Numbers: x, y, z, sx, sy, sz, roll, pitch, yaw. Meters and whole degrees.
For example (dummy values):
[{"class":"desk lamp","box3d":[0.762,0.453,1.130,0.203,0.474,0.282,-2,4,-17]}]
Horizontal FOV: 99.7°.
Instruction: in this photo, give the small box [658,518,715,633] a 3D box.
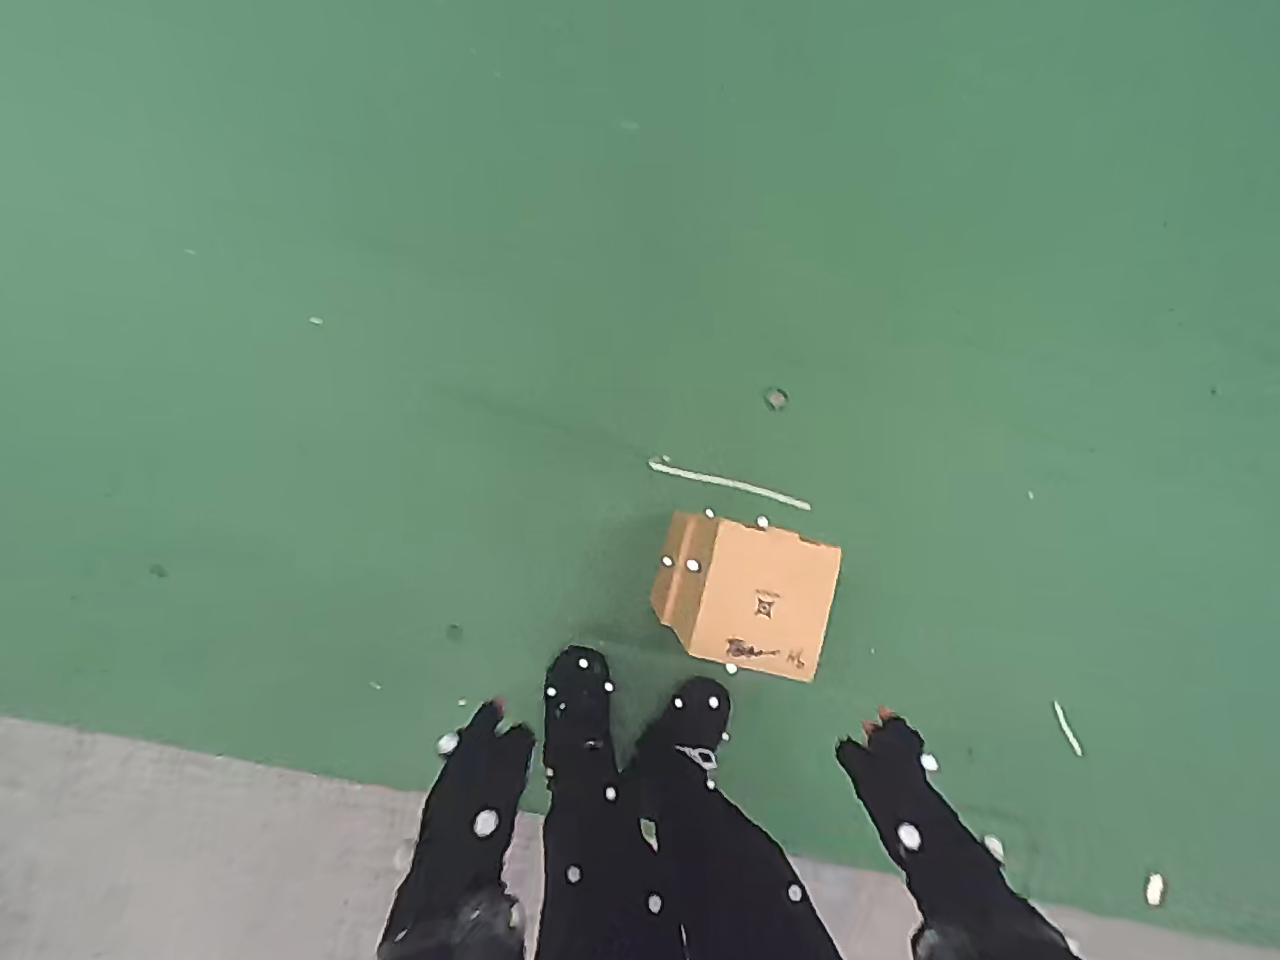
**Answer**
[{"class":"small box","box3d":[0.133,0.167,0.901,0.168,0.176,0.179,17,87,-3]}]

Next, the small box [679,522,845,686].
[{"class":"small box","box3d":[0.157,0.160,0.757,0.168,0.176,0.179,14,86,-4]}]
